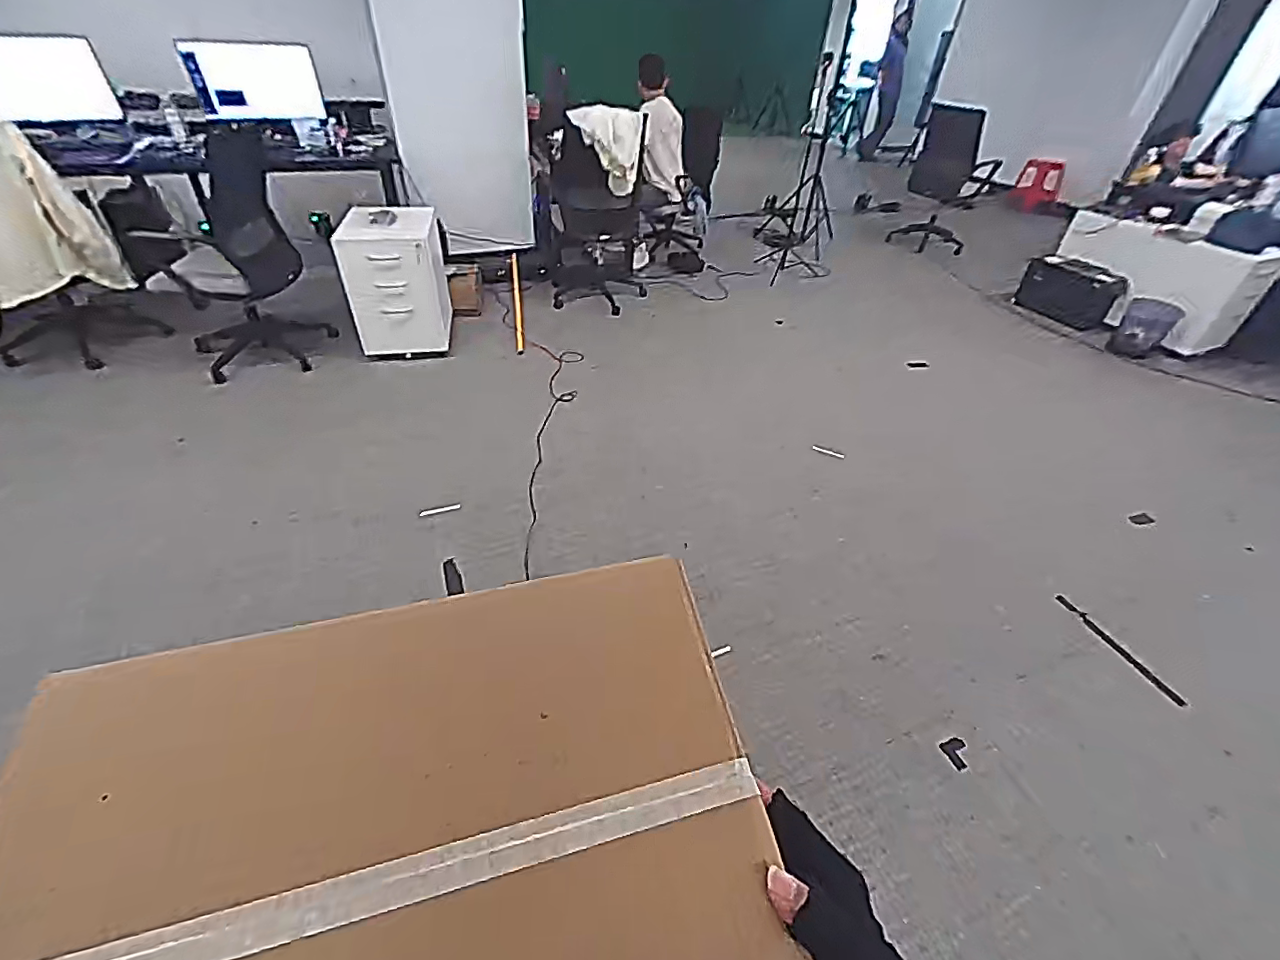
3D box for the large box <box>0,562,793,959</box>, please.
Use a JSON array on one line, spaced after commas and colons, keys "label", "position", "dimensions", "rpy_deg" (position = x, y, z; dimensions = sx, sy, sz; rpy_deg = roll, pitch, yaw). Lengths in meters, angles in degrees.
[{"label": "large box", "position": [-0.143, 0.302, 0.412], "dimensions": [0.408, 0.320, 0.320], "rpy_deg": [-9, 54, -12]}]
